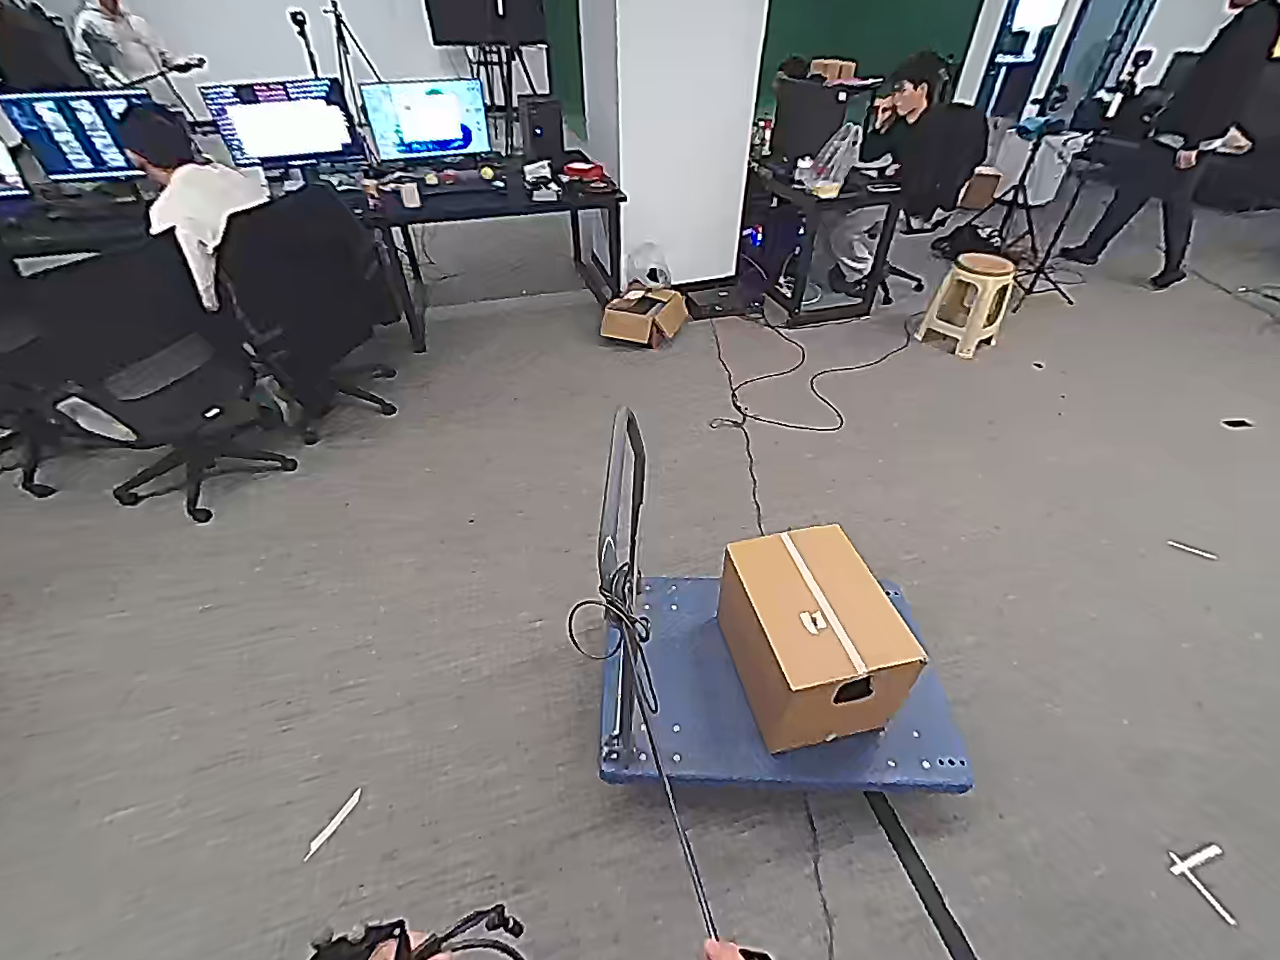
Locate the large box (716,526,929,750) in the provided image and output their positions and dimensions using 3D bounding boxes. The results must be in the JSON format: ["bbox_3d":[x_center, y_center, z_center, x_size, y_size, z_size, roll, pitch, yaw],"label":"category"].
[{"bbox_3d":[0.409,0.379,1.339,0.320,0.320,0.408,-10,44,-9],"label":"large box"}]
